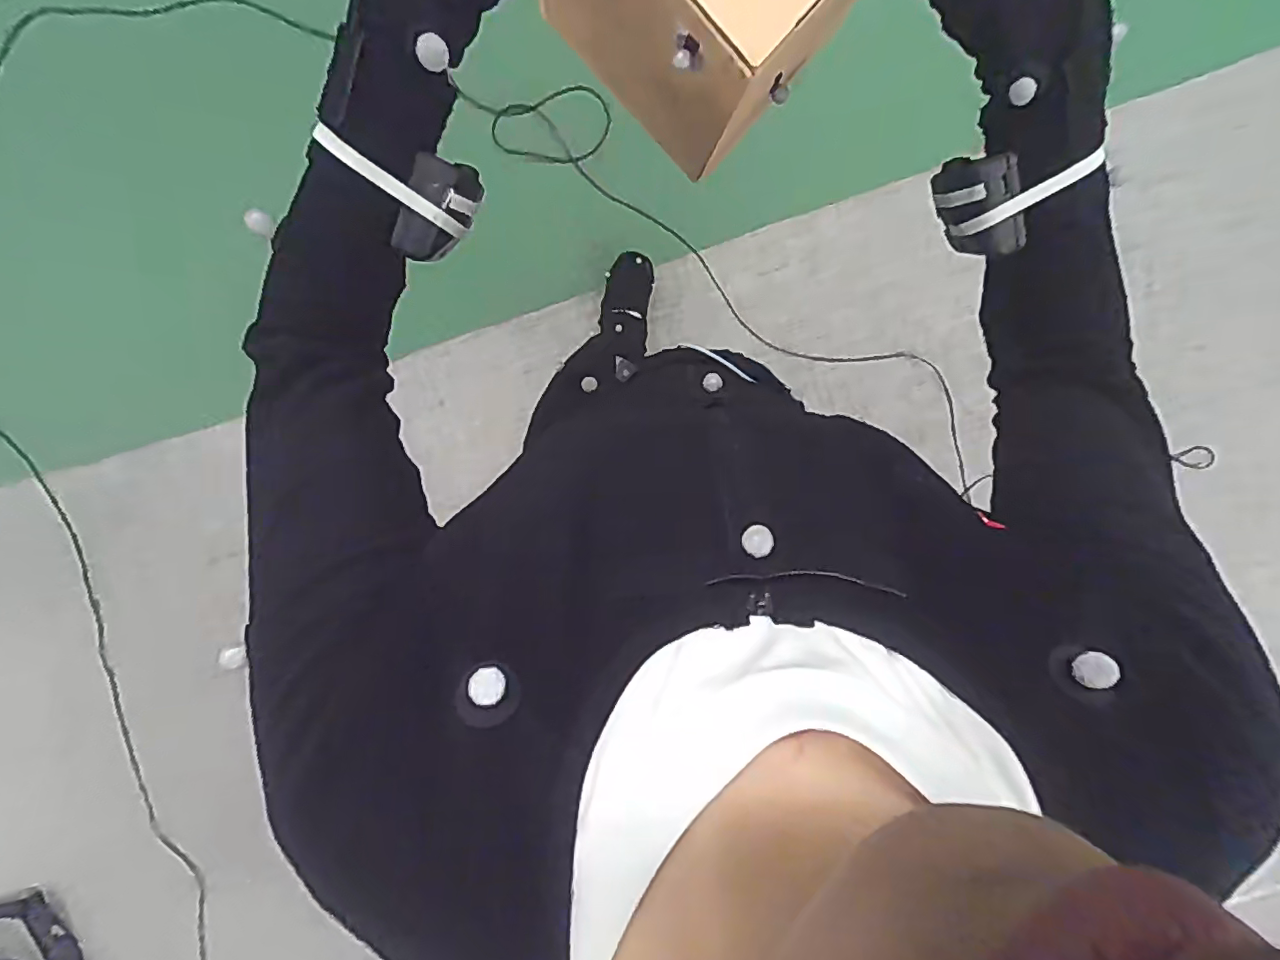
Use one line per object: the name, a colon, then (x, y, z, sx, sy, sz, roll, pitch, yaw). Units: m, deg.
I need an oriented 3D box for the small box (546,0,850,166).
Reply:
small box: (0.046, -0.357, 0.359, 0.179, 0.176, 0.168, 43, 94, -12)
